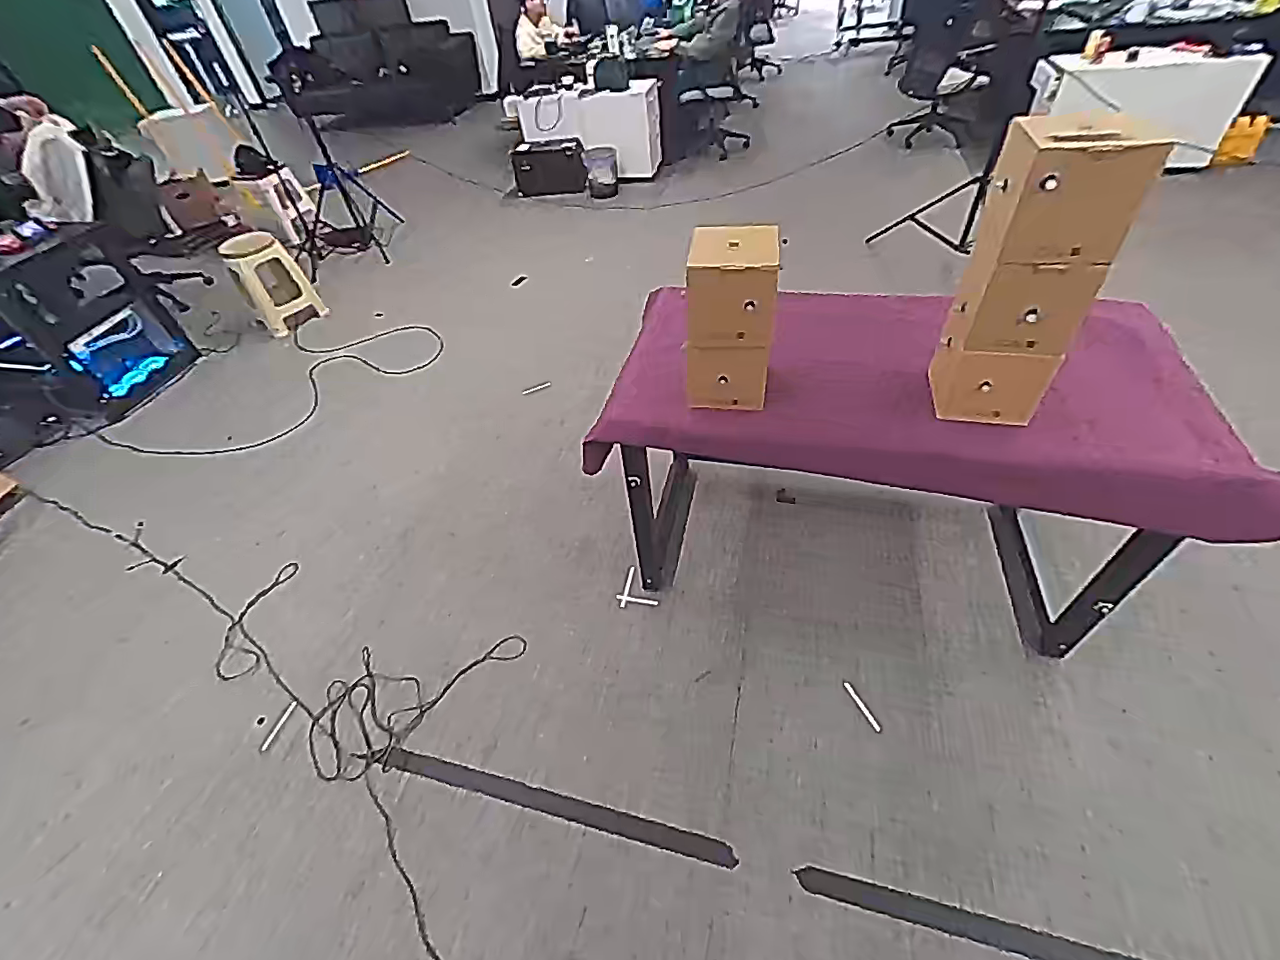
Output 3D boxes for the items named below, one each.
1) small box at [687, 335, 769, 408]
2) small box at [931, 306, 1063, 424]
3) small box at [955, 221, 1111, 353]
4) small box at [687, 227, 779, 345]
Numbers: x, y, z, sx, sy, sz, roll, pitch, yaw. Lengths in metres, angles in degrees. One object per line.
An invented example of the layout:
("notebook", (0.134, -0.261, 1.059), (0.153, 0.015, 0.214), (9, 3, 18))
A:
("small box", (0.199, -0.275, 1.194), (0.168, 0.176, 0.179), (4, 47, 10))
("small box", (0.706, -0.231, 1.092), (0.168, 0.176, 0.179), (7, 47, 14))
("small box", (0.692, -0.347, 0.977), (0.168, 0.176, 0.179), (7, 48, 14))
("small box", (0.185, -0.381, 1.072), (0.168, 0.176, 0.179), (3, 46, 9))
